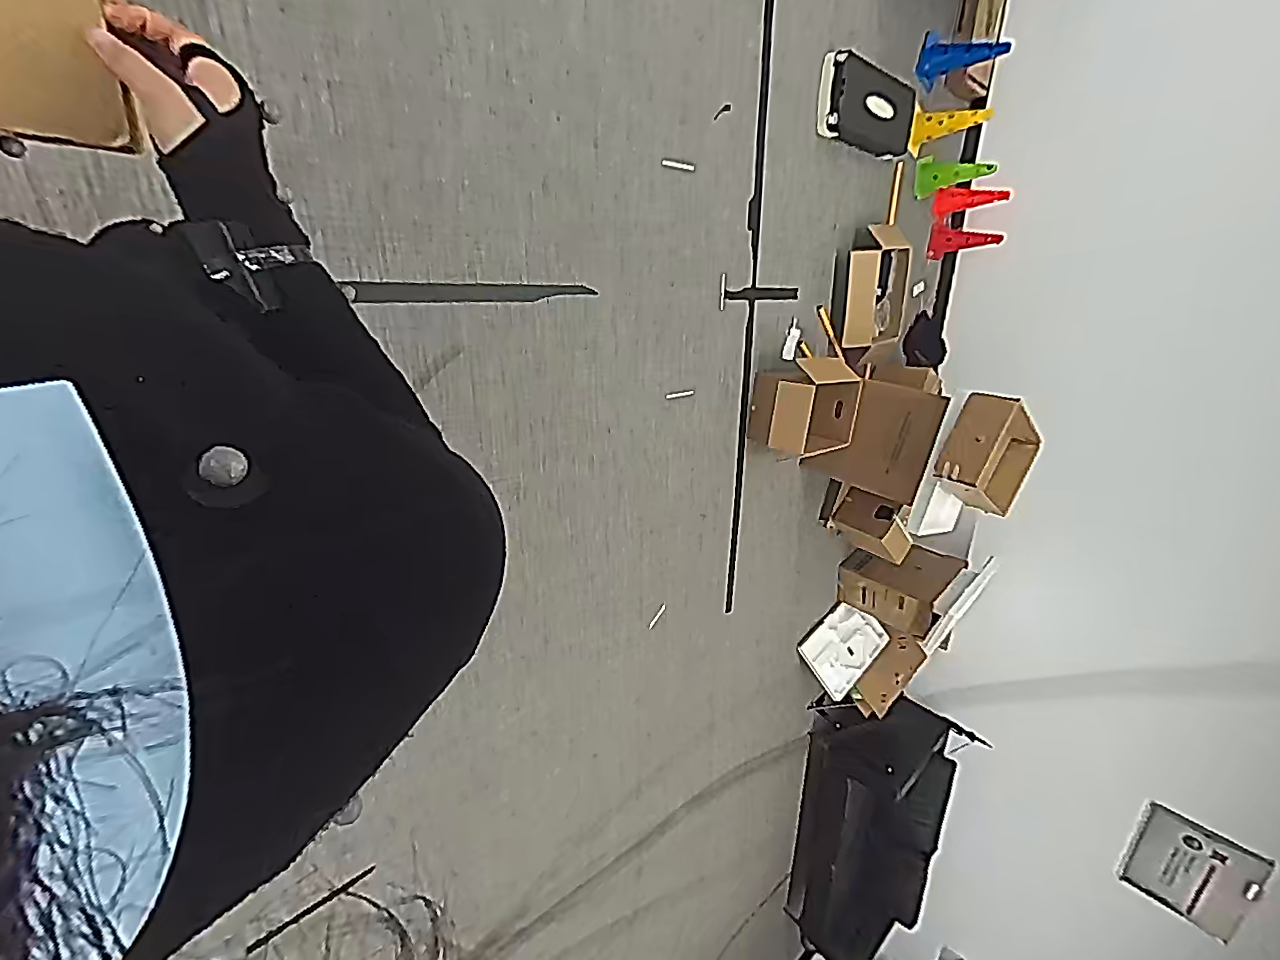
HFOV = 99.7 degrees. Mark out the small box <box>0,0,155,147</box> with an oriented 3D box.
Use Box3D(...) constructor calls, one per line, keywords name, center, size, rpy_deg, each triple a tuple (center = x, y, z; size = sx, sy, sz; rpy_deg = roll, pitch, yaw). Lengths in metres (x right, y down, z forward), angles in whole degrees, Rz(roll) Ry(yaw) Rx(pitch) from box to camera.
Box3D(name="small box", center=(-0.446, -0.337, 0.354), size=(0.168, 0.176, 0.179), rpy_deg=(-10, 123, -35))
